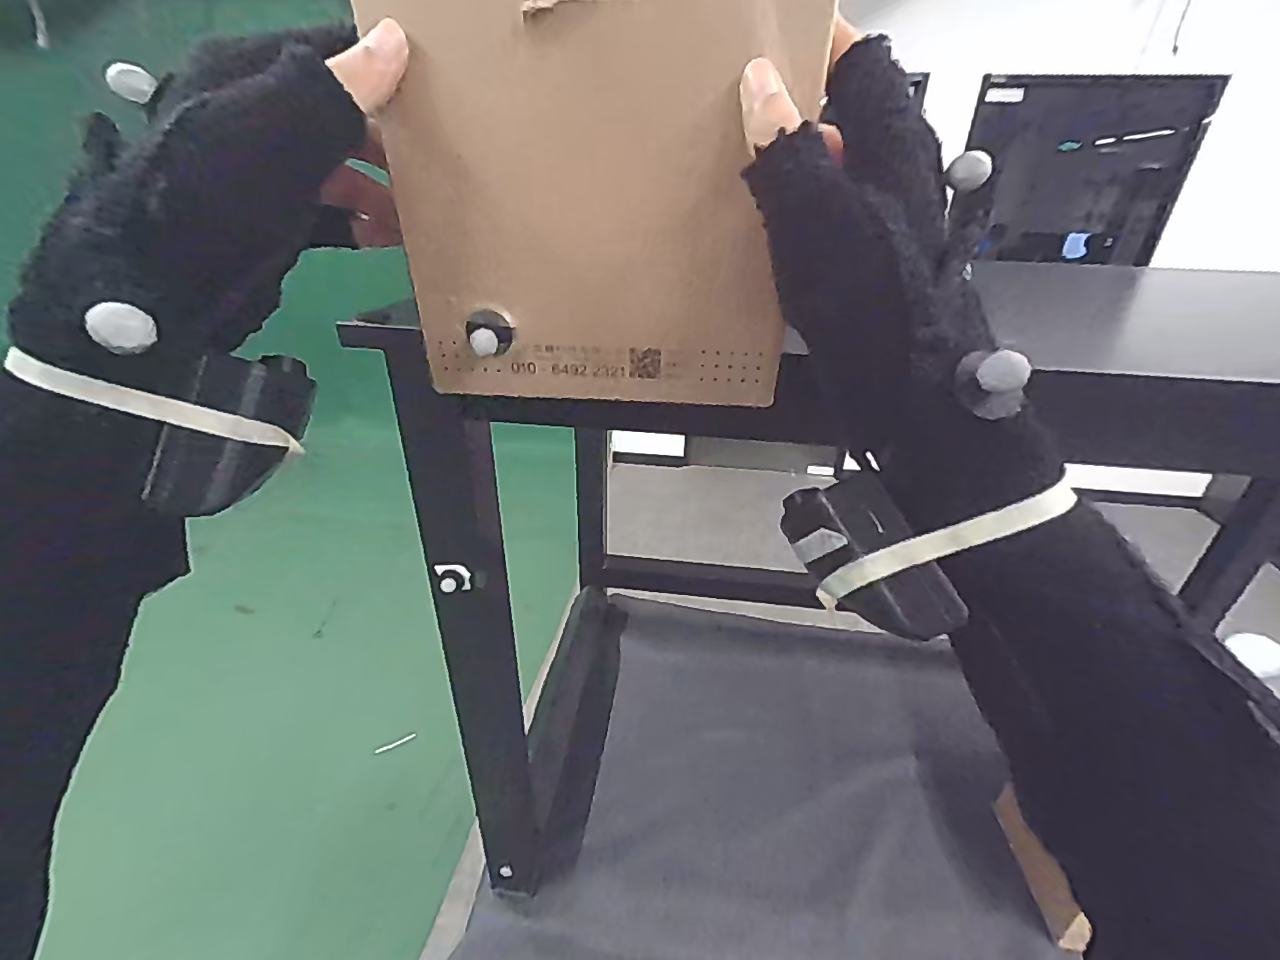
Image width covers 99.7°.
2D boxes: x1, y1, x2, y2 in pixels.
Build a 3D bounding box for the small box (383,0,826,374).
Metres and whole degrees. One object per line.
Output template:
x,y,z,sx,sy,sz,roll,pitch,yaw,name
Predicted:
-0.007,-0.165,0.295,0.168,0.176,0.179,3,32,2,small box
